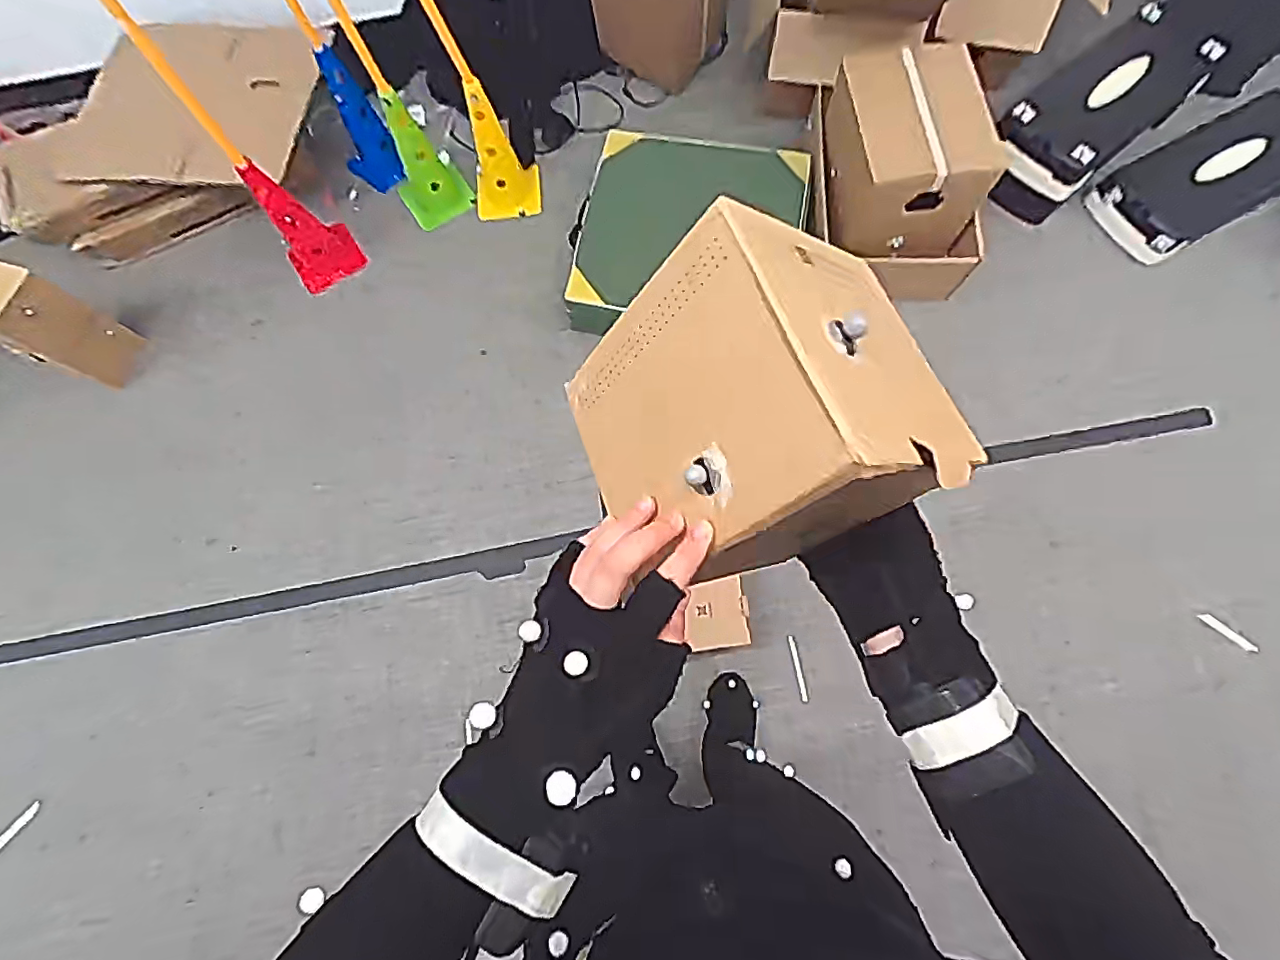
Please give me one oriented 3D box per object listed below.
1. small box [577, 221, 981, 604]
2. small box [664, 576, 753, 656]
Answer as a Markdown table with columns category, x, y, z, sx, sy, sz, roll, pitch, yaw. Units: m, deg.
| category | x | y | z | sx | sy | sz | roll | pitch | yaw |
| --- | --- | --- | --- | --- | --- | --- | --- | --- | --- |
| small box | 0.081 | -0.037 | 0.367 | 0.168 | 0.179 | 0.176 | -4 | 66 | -43 |
| small box | 0.152 | 0.318 | 1.269 | 0.179 | 0.176 | 0.168 | -6 | 73 | -1 |
